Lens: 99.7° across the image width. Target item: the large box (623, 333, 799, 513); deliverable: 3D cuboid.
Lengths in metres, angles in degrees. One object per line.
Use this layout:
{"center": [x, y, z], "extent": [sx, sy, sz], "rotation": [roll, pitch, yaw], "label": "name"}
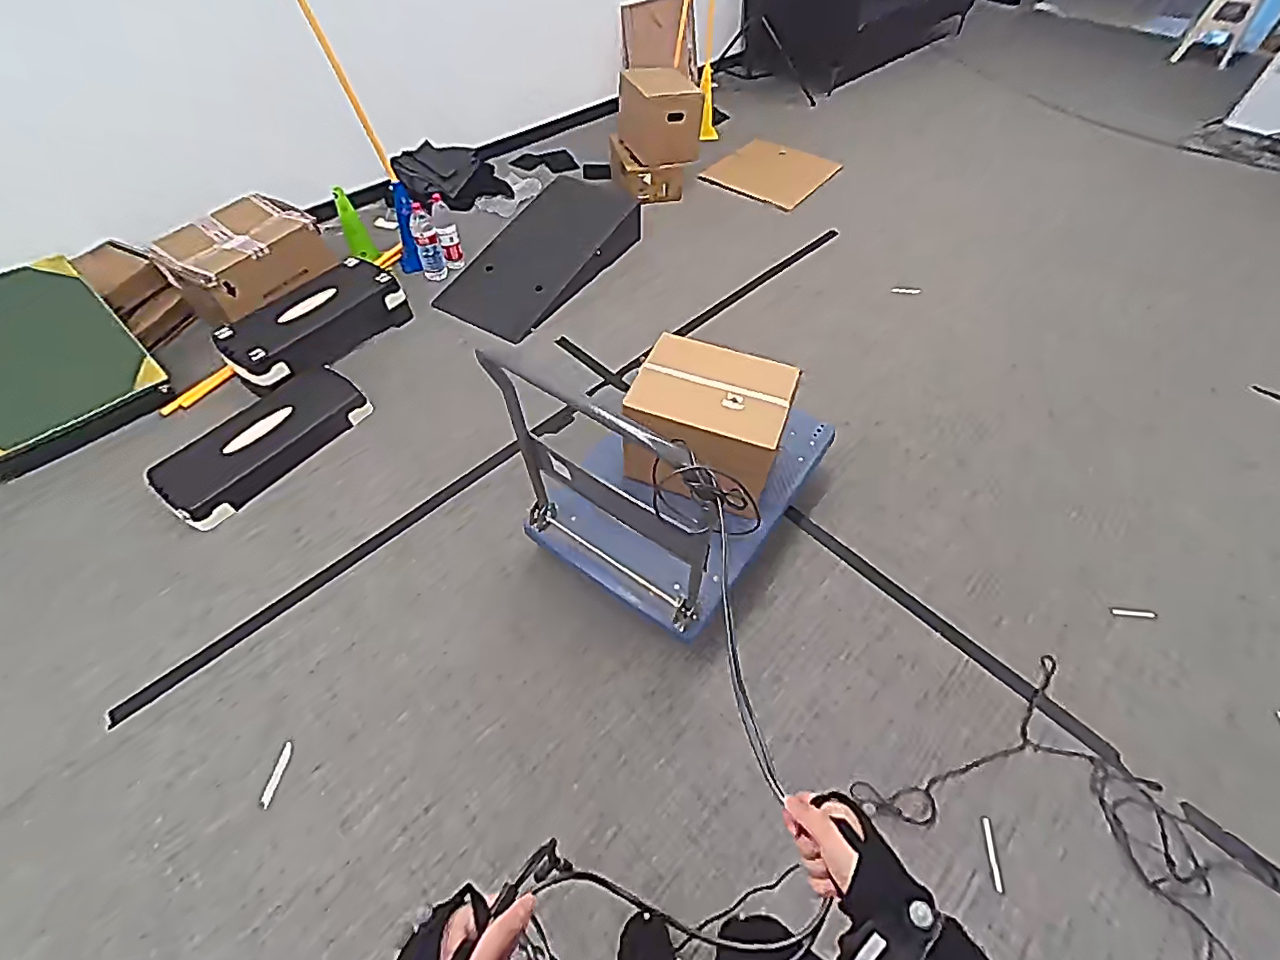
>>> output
{"center": [0.187, -0.158, 1.528], "extent": [0.408, 0.320, 0.320], "rotation": [18, 57, 12], "label": "large box"}
